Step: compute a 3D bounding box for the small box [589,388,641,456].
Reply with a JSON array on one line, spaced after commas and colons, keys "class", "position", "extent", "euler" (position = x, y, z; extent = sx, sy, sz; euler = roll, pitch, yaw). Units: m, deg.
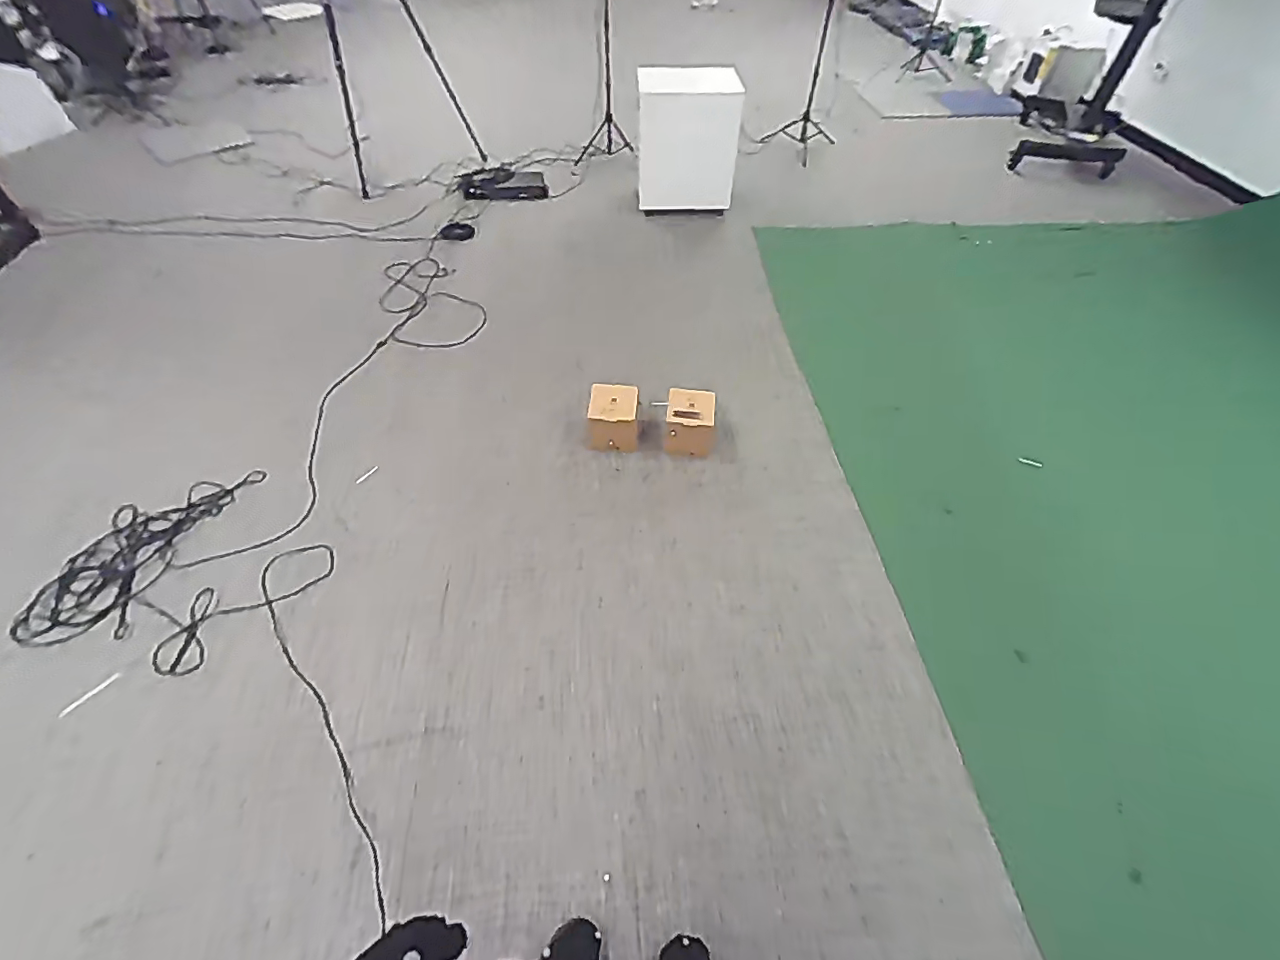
[{"class": "small box", "position": [-0.087, -0.209, 1.951], "extent": [0.168, 0.176, 0.179], "euler": [3, 52, 3]}]
